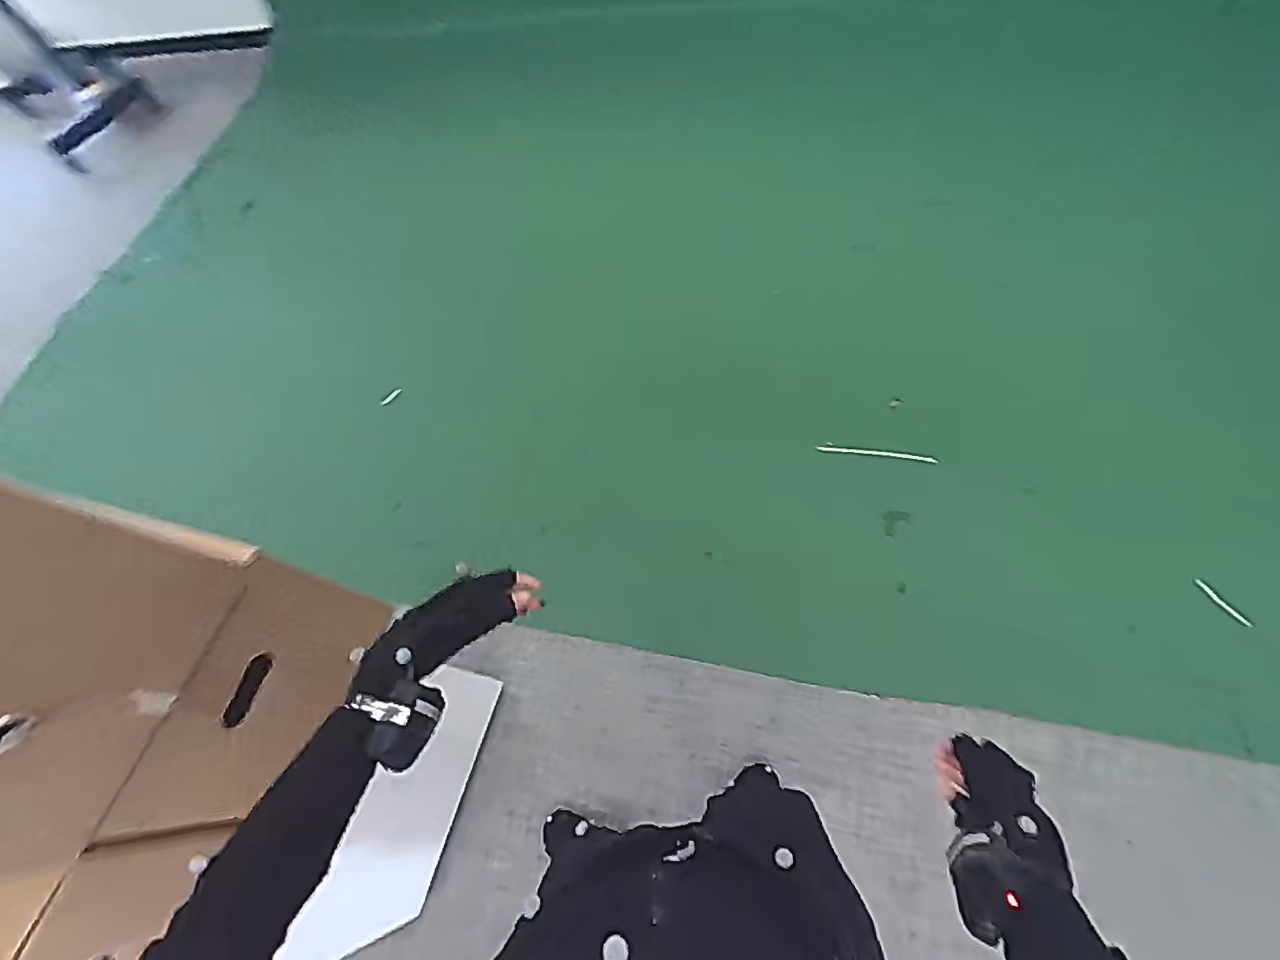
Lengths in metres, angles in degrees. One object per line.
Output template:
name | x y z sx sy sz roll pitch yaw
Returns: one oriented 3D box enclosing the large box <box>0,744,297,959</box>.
large box | -0.744 0.535 0.655 0.408 0.320 0.320 9 65 15
